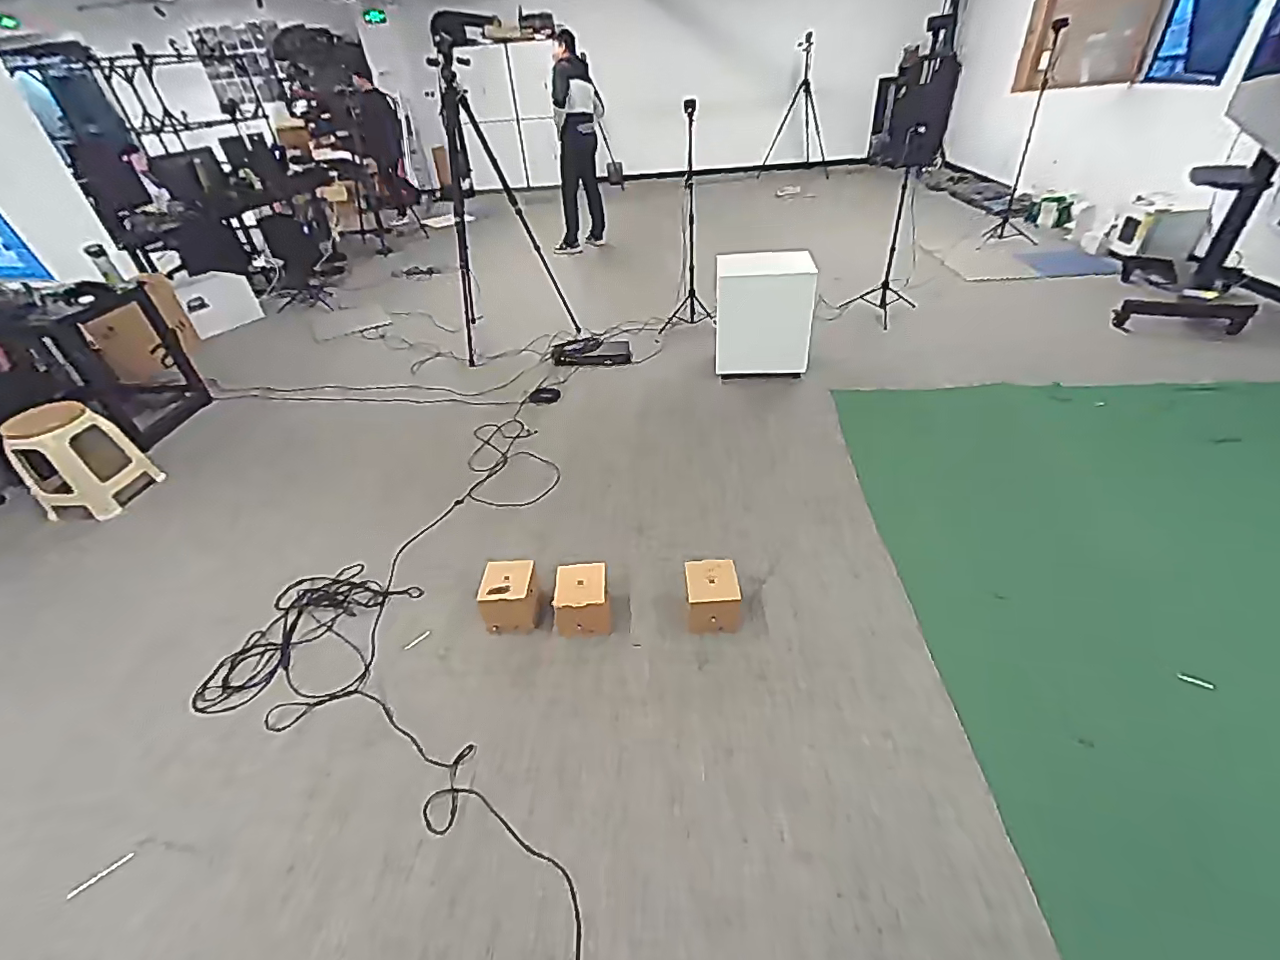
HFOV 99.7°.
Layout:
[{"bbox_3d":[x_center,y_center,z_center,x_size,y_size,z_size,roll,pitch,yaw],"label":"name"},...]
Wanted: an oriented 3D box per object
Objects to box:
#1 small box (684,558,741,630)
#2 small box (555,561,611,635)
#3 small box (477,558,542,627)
[{"bbox_3d":[0.237,0.384,1.797,0.168,0.176,0.179,-3,38,0],"label":"small box"},{"bbox_3d":[-0.188,0.398,1.824,0.168,0.176,0.179,-5,39,1],"label":"small box"},{"bbox_3d":[-0.441,0.391,1.858,0.168,0.176,0.179,-3,37,3],"label":"small box"}]
